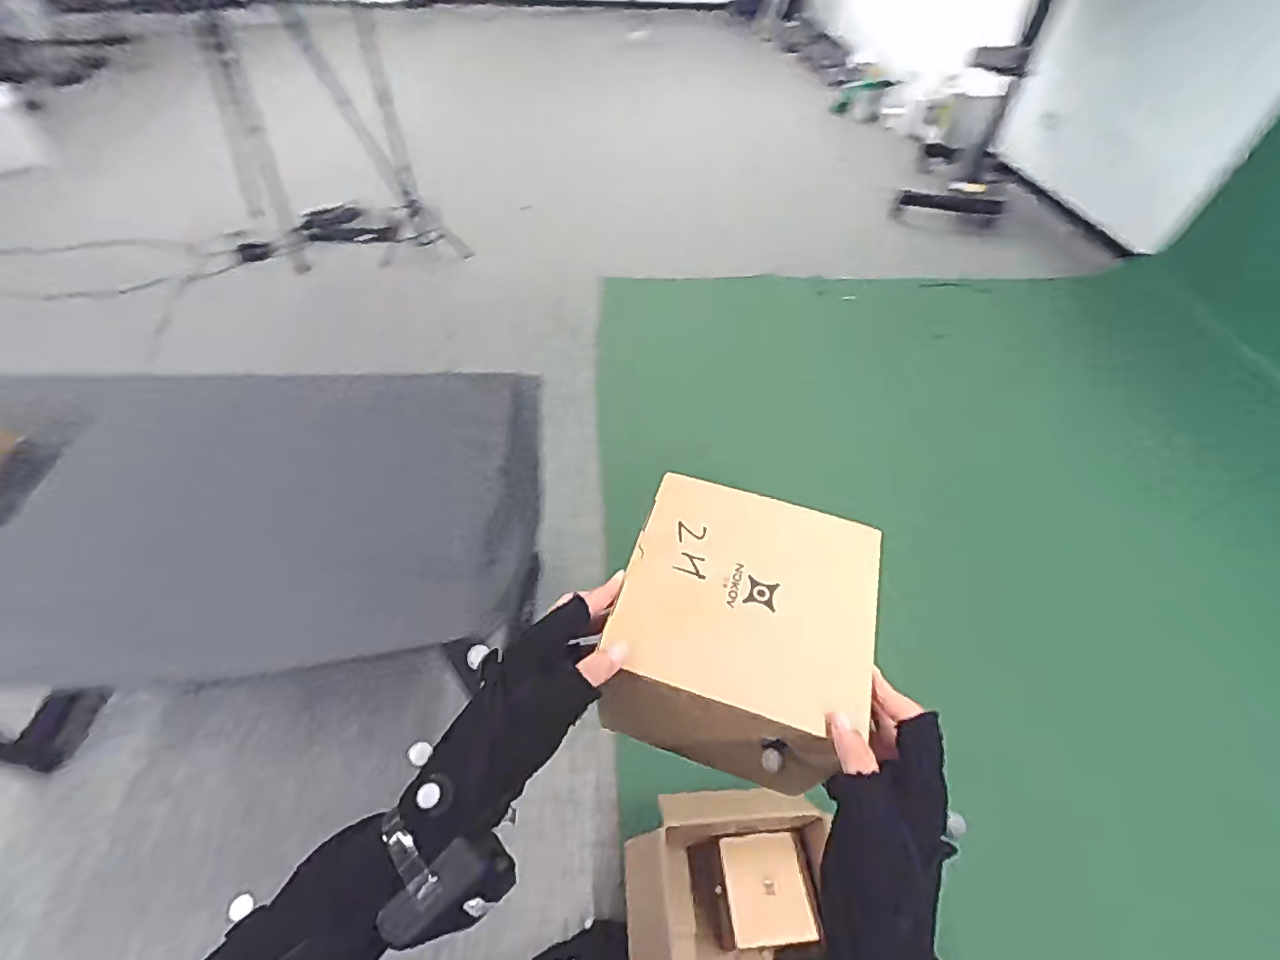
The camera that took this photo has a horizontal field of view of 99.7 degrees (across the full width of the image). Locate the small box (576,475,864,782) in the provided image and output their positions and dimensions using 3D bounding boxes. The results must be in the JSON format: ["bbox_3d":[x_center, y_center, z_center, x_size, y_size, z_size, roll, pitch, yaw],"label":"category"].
[{"bbox_3d":[0.062,0.127,0.442,0.179,0.176,0.168,14,53,9],"label":"small box"}]

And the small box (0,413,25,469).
[{"bbox_3d":[-1.204,-0.068,0.879,0.179,0.176,0.168,-2,50,-6],"label":"small box"}]
